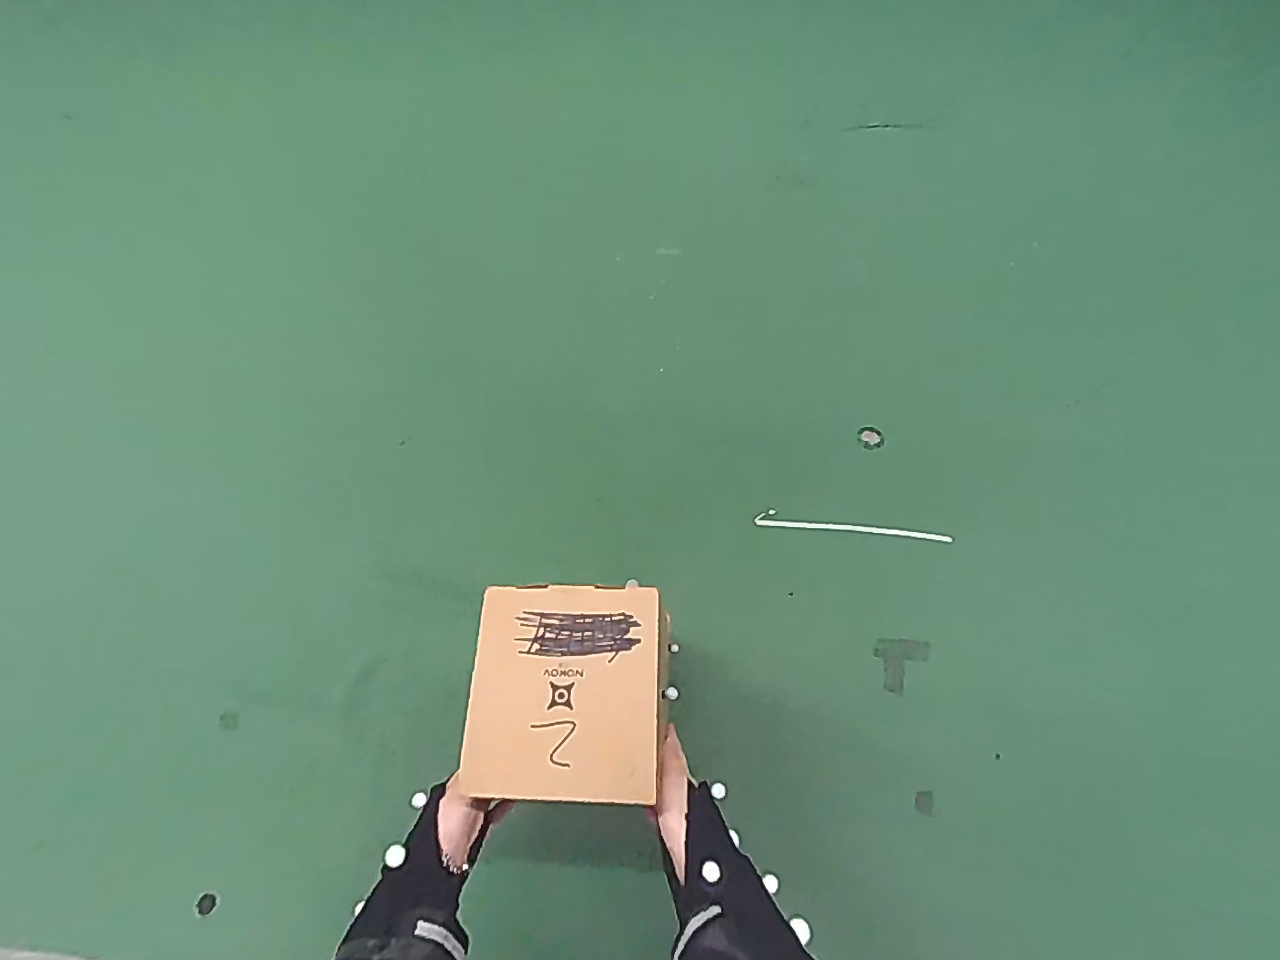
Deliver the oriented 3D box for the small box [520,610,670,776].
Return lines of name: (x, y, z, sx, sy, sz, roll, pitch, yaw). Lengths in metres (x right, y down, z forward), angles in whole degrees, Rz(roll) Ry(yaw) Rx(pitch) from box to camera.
small box: (-0.047, 0.283, 0.720, 0.168, 0.176, 0.179, 3, 65, 4)
